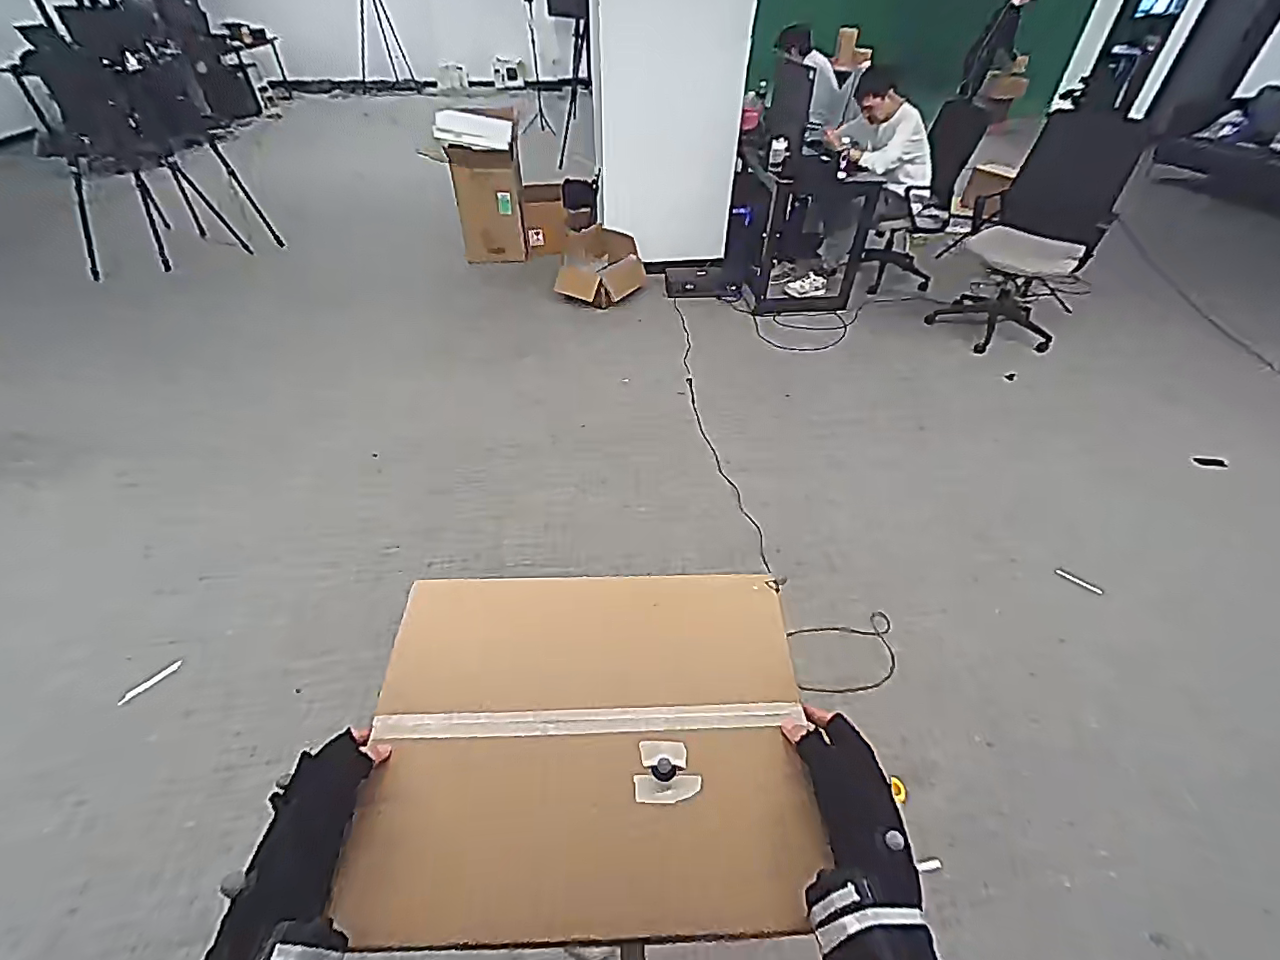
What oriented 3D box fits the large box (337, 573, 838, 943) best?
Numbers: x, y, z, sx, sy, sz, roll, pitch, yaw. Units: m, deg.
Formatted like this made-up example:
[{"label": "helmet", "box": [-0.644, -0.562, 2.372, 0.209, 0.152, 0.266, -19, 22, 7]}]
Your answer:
[{"label": "large box", "box": [-0.048, 0.324, 0.631, 0.408, 0.320, 0.320, 0, 50, -2]}]
